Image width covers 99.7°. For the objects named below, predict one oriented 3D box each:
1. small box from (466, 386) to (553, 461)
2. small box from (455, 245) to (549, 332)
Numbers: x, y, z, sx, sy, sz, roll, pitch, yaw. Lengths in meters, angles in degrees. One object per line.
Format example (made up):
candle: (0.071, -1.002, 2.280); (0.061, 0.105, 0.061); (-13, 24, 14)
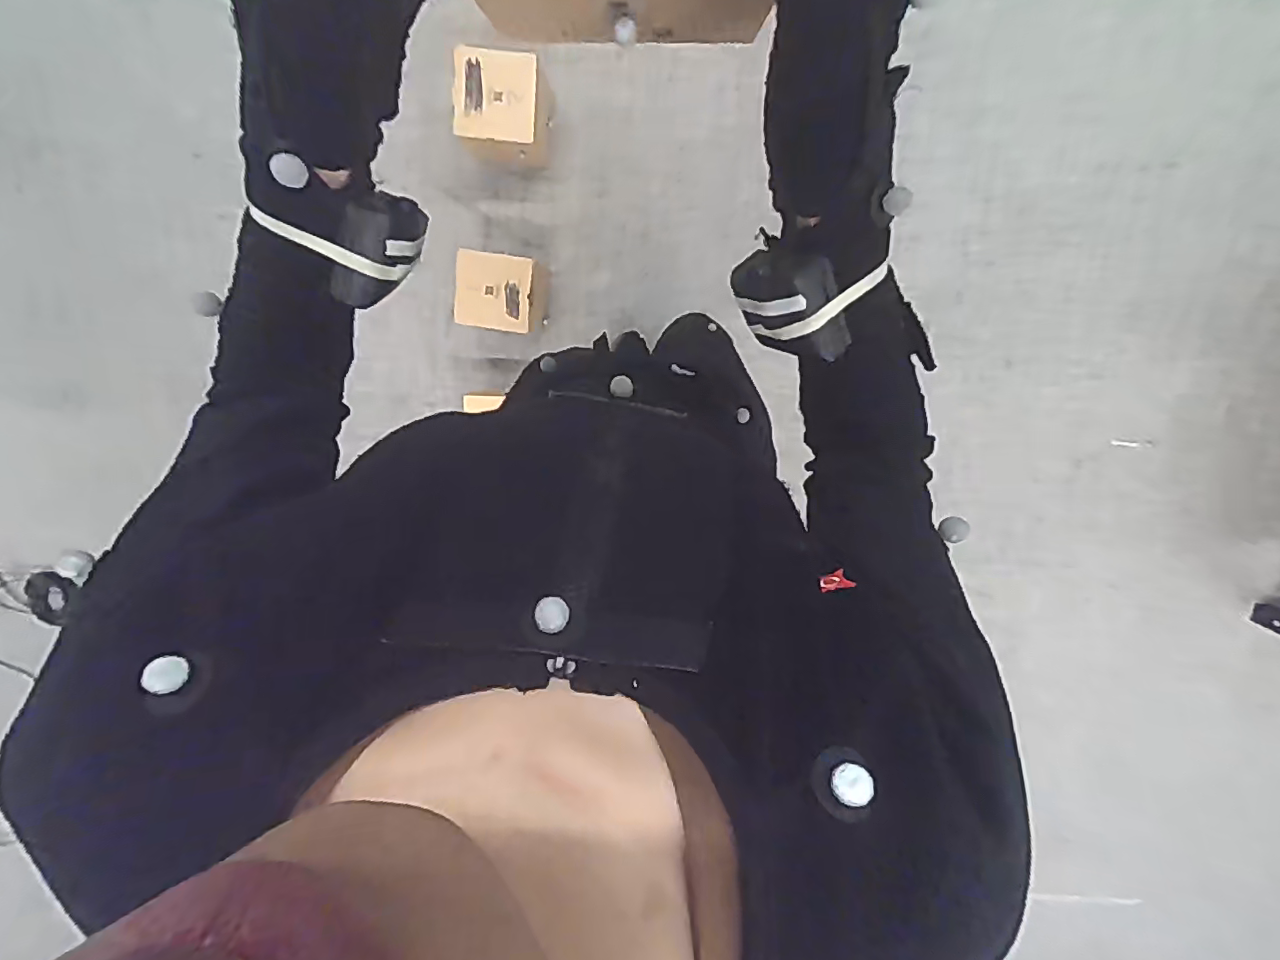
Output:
small box: (-0.327, -0.149, 1.378); (0.179, 0.176, 0.168); (2, 105, 2)
small box: (-0.323, -0.452, 1.295); (0.179, 0.176, 0.168); (9, 105, 2)
